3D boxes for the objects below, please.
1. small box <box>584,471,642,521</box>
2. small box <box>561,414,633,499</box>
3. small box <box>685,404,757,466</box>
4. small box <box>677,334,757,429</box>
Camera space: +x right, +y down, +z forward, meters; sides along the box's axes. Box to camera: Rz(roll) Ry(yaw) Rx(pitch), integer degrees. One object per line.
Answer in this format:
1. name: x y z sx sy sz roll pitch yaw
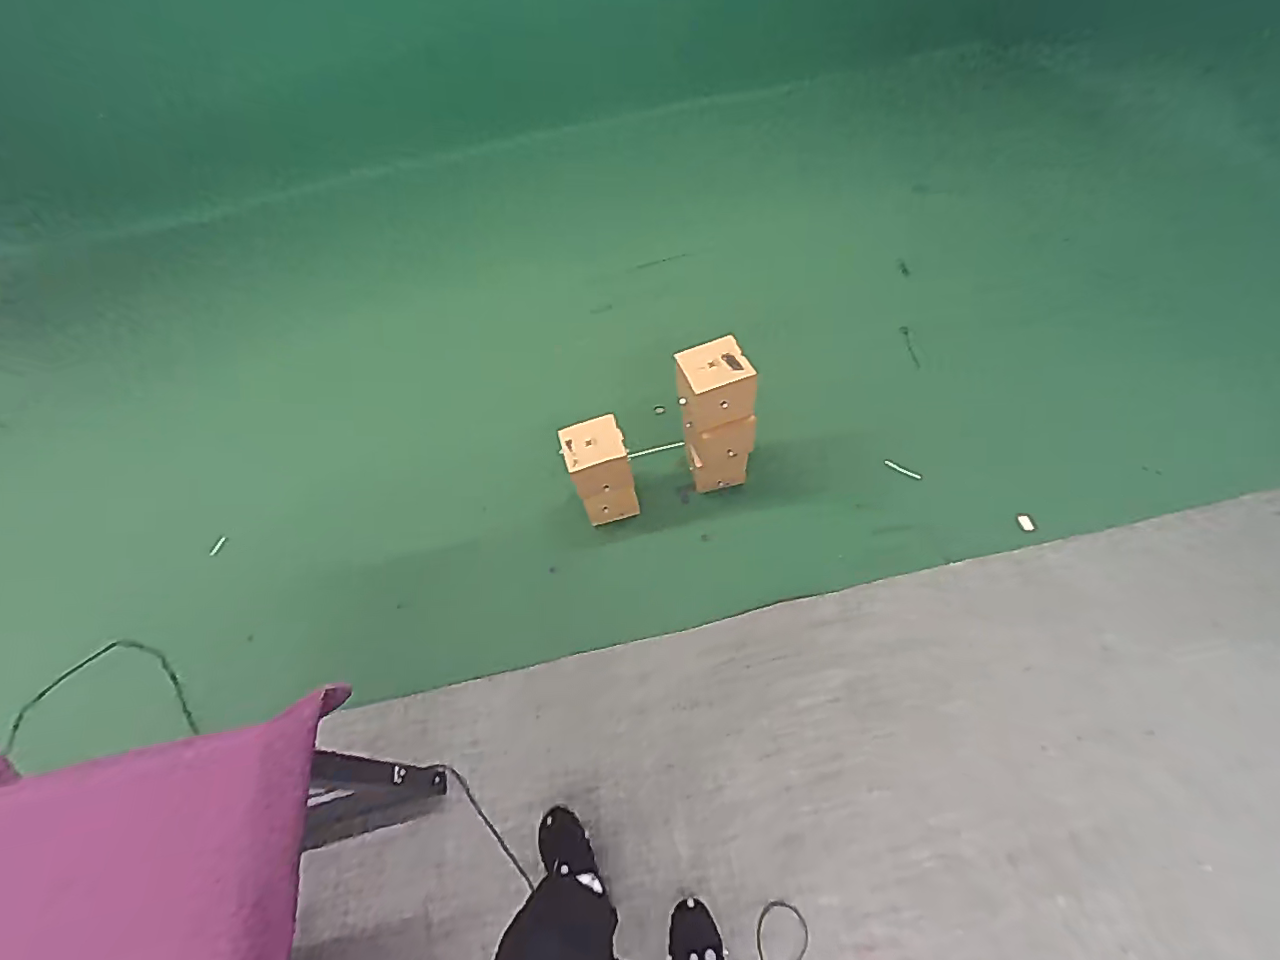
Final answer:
1. small box: -0.098 0.020 1.781 0.168 0.176 0.179 -15 56 0
2. small box: -0.125 -0.068 1.645 0.179 0.176 0.168 -17 56 -3
3. small box: 0.242 -0.174 1.654 0.168 0.176 0.179 -22 58 -5
4. small box: 0.214 -0.274 1.525 0.179 0.176 0.168 -20 57 -3
